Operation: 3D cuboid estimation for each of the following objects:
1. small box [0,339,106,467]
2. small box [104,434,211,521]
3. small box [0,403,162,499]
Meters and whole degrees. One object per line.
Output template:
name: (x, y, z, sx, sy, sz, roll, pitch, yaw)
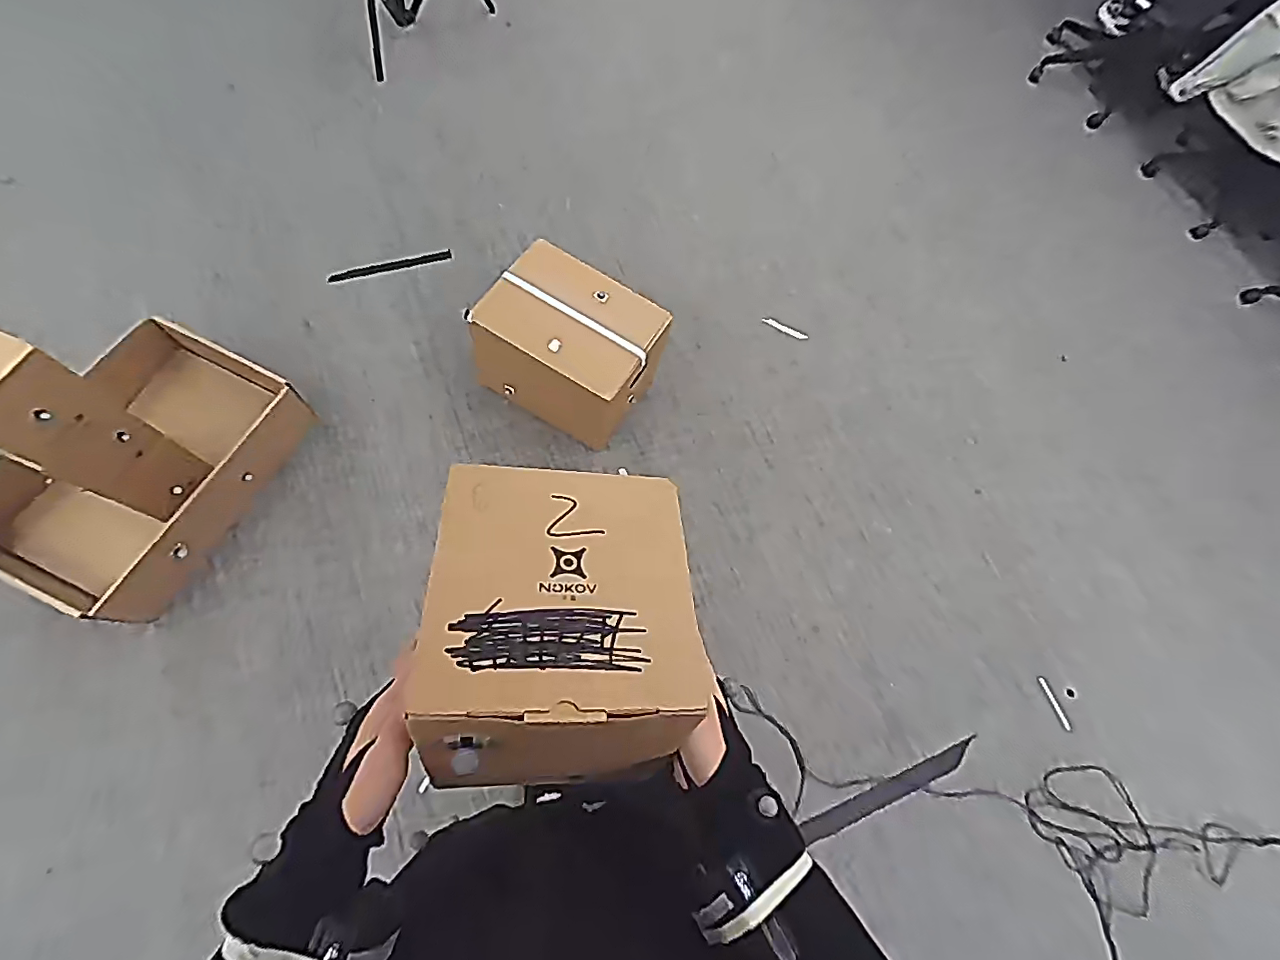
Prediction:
small box: (-1.102, -0.140, 0.926, 0.179, 0.176, 0.168, 22, 66, -1)
small box: (-1.148, -0.025, 1.229, 0.179, 0.176, 0.168, 26, 68, 1)
small box: (-1.129, -0.078, 1.077, 0.179, 0.176, 0.168, 22, 67, 1)
